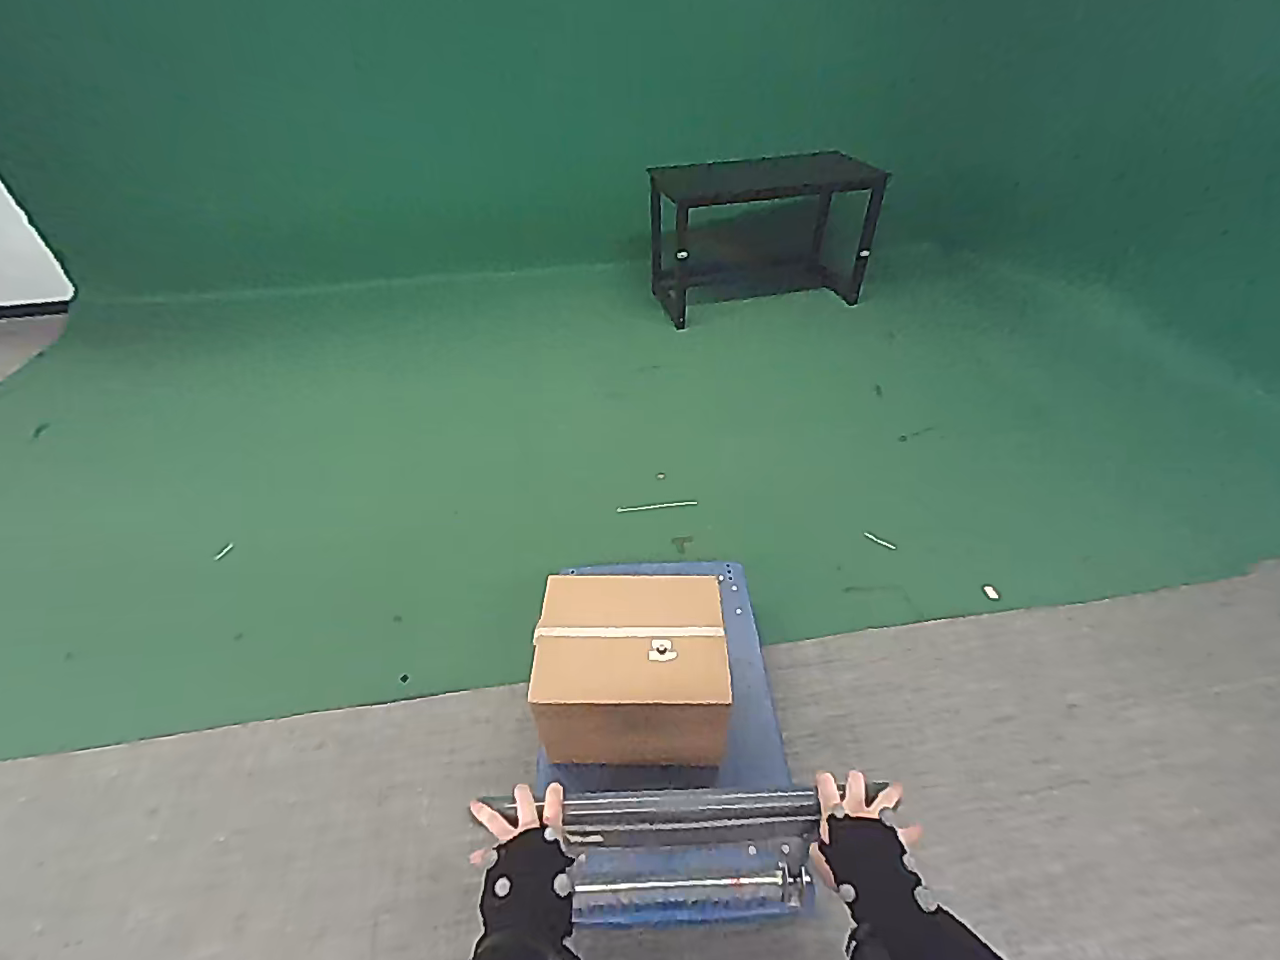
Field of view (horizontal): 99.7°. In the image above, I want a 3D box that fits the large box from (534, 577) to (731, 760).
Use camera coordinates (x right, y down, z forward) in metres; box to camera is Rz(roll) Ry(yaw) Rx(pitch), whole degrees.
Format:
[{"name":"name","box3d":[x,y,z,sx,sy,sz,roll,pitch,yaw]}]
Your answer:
[{"name":"large box","box3d":[-0.016,0.448,1.289,0.408,0.320,0.320,0,42,1]}]
